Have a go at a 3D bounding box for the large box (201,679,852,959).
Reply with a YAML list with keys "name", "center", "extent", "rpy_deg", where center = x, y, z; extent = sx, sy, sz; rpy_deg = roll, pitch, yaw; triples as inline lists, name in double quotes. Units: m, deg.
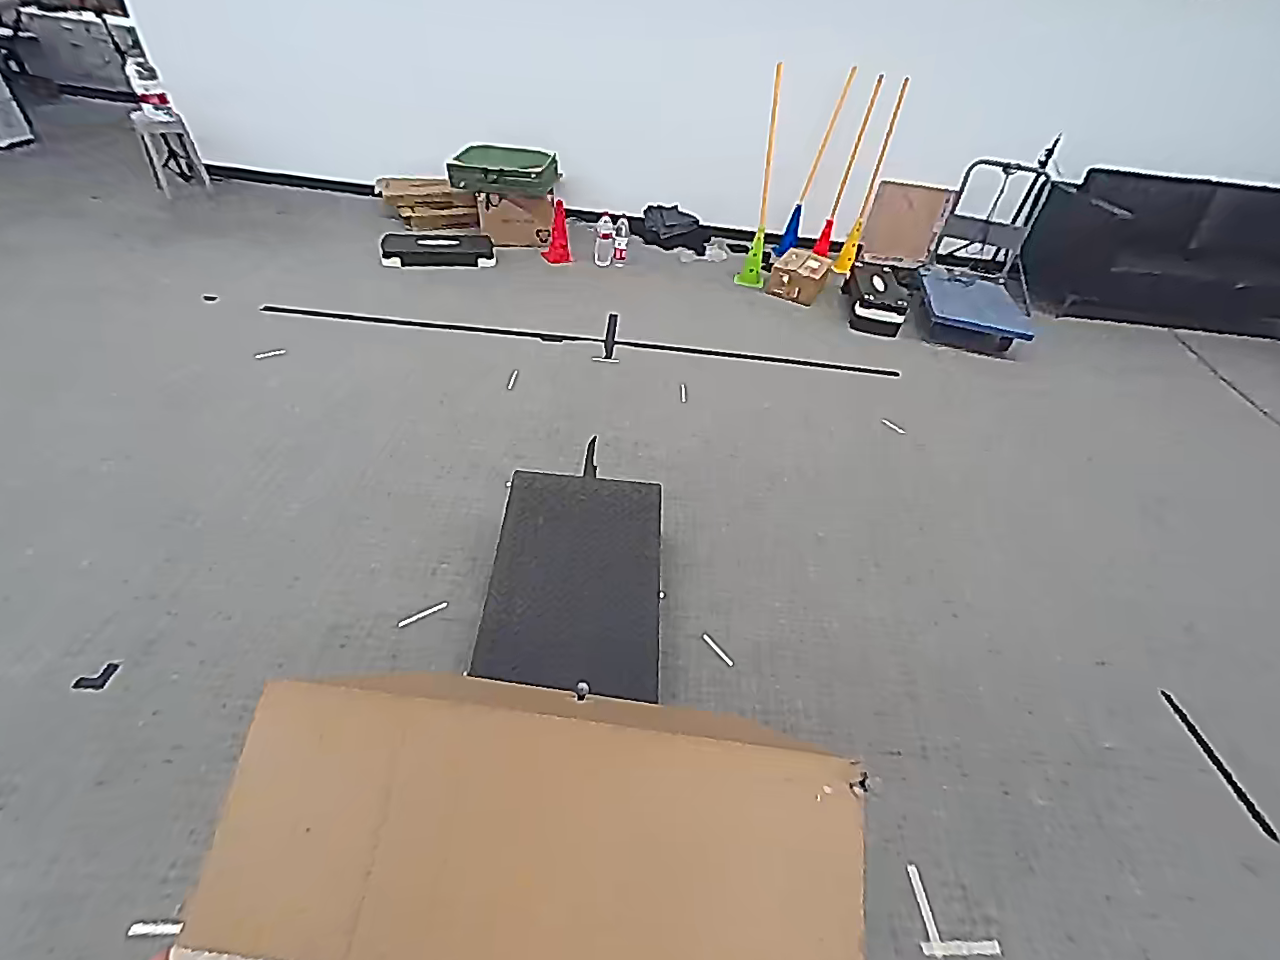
- name: "large box"
  center: [-0.077, 0.357, 0.469]
  extent: [0.408, 0.320, 0.320]
  rpy_deg: [8, 72, -1]
